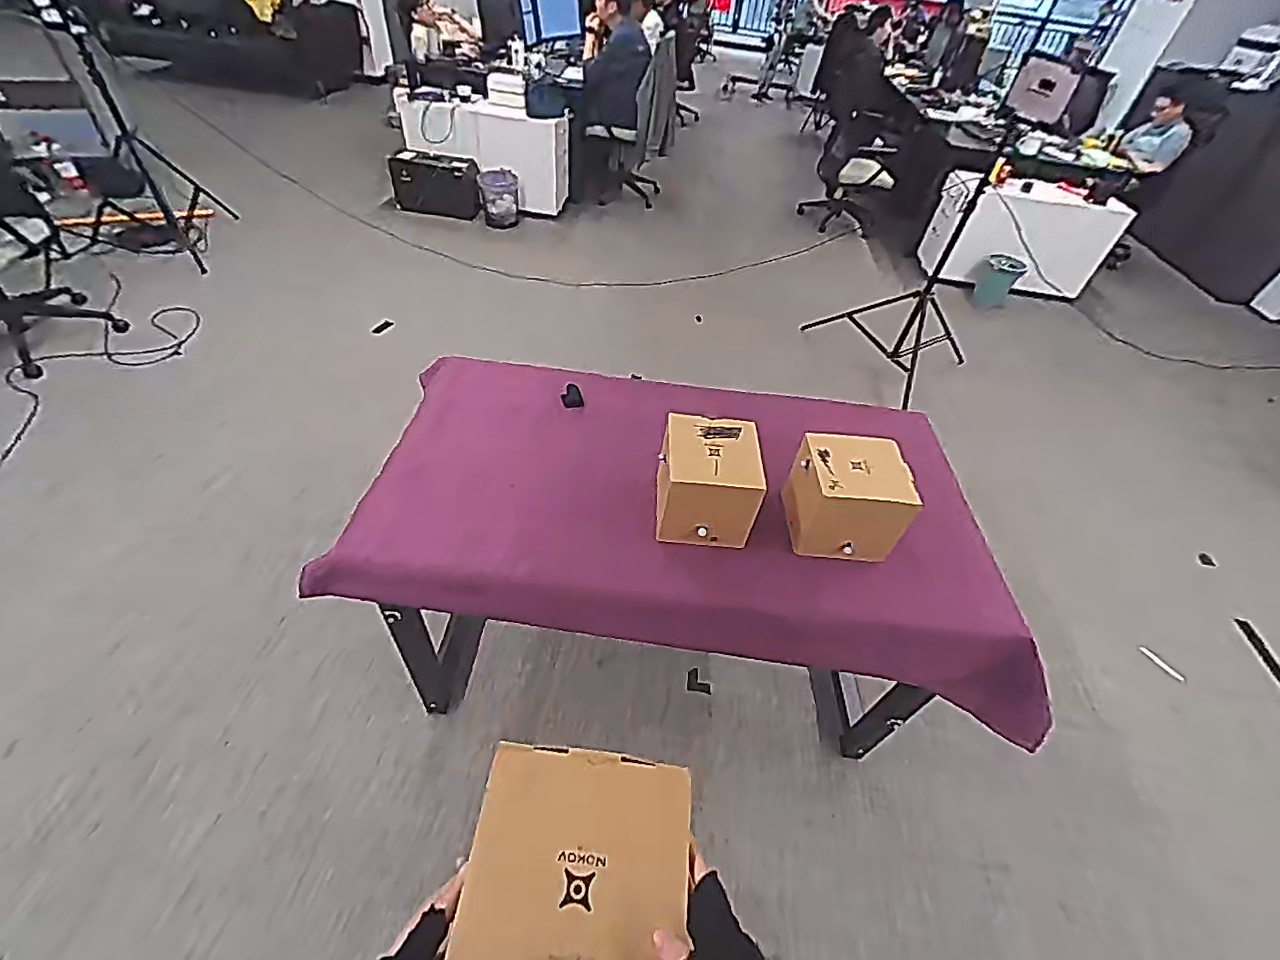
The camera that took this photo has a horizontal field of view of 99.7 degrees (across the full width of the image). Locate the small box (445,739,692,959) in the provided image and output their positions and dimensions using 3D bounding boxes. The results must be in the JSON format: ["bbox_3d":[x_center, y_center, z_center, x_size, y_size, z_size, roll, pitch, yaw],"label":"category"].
[{"bbox_3d":[-0.055,0.341,0.454,0.168,0.176,0.179,8,50,-3],"label":"small box"}]

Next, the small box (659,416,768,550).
[{"bbox_3d":[0.127,0.005,1.010,0.168,0.176,0.179,5,46,-3],"label":"small box"}]

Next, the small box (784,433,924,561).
[{"bbox_3d":[0.388,0.036,1.016,0.179,0.176,0.168,6,45,-3],"label":"small box"}]
